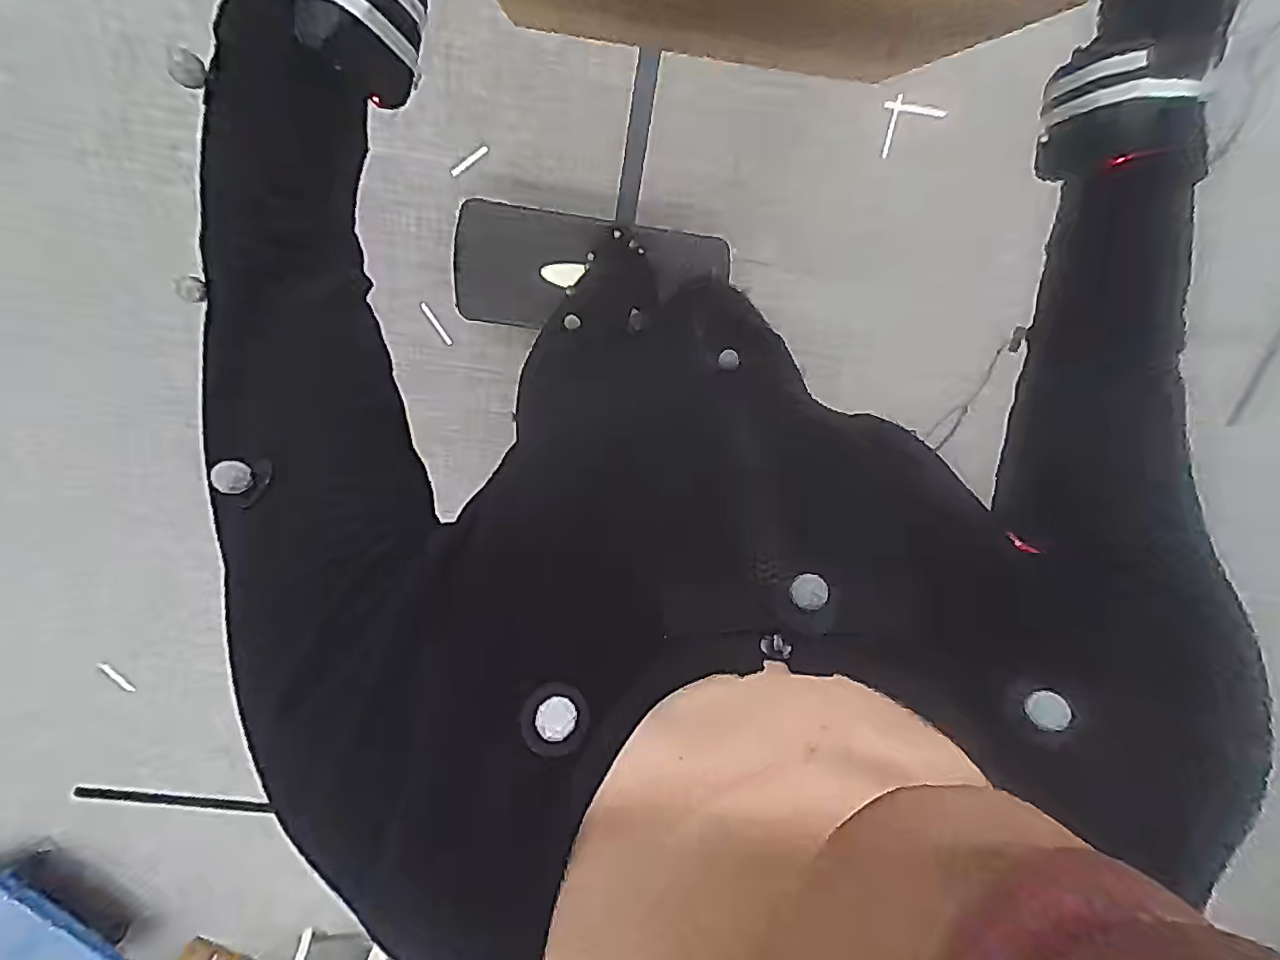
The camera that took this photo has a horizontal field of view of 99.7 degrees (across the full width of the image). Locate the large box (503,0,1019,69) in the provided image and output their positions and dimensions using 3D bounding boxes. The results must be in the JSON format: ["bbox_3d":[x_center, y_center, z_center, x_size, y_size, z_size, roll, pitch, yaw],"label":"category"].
[{"bbox_3d":[0.084,-0.525,0.377,0.408,0.320,0.320,4,119,-5],"label":"large box"}]
